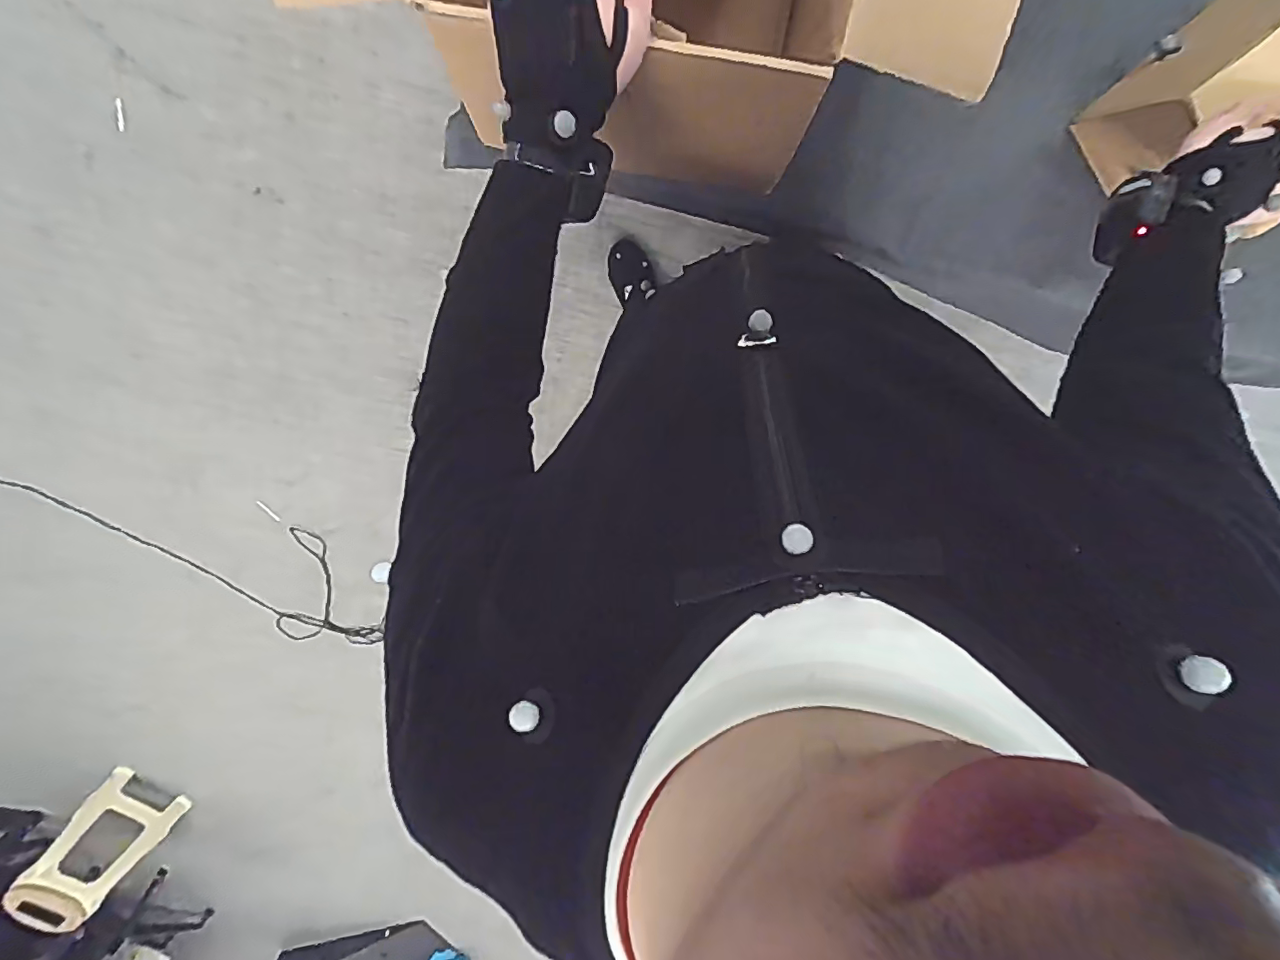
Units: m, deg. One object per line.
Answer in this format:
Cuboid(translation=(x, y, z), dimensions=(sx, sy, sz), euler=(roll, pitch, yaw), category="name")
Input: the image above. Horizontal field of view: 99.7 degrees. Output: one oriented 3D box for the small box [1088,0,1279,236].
Cuboid(translation=(0.625, -0.383, 0.565), dimensions=(0.179, 0.176, 0.168), euler=(-40, 107, 20), category="small box")
